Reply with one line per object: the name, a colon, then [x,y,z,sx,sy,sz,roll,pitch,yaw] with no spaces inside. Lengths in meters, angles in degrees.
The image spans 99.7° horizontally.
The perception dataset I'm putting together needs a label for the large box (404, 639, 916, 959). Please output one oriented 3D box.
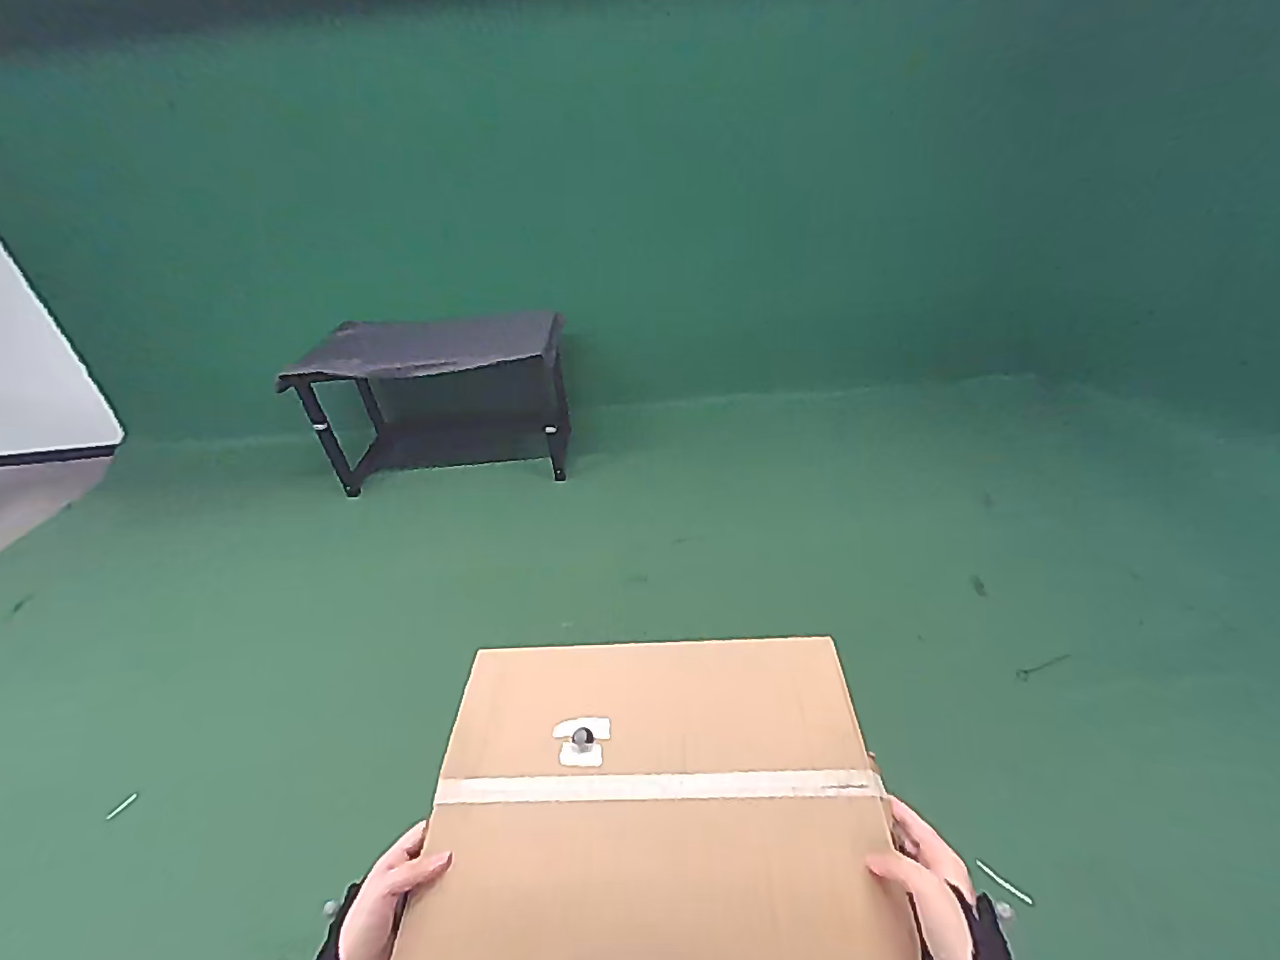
large box: [0.028,0.407,0.599,0.408,0.320,0.320,-5,39,6]
